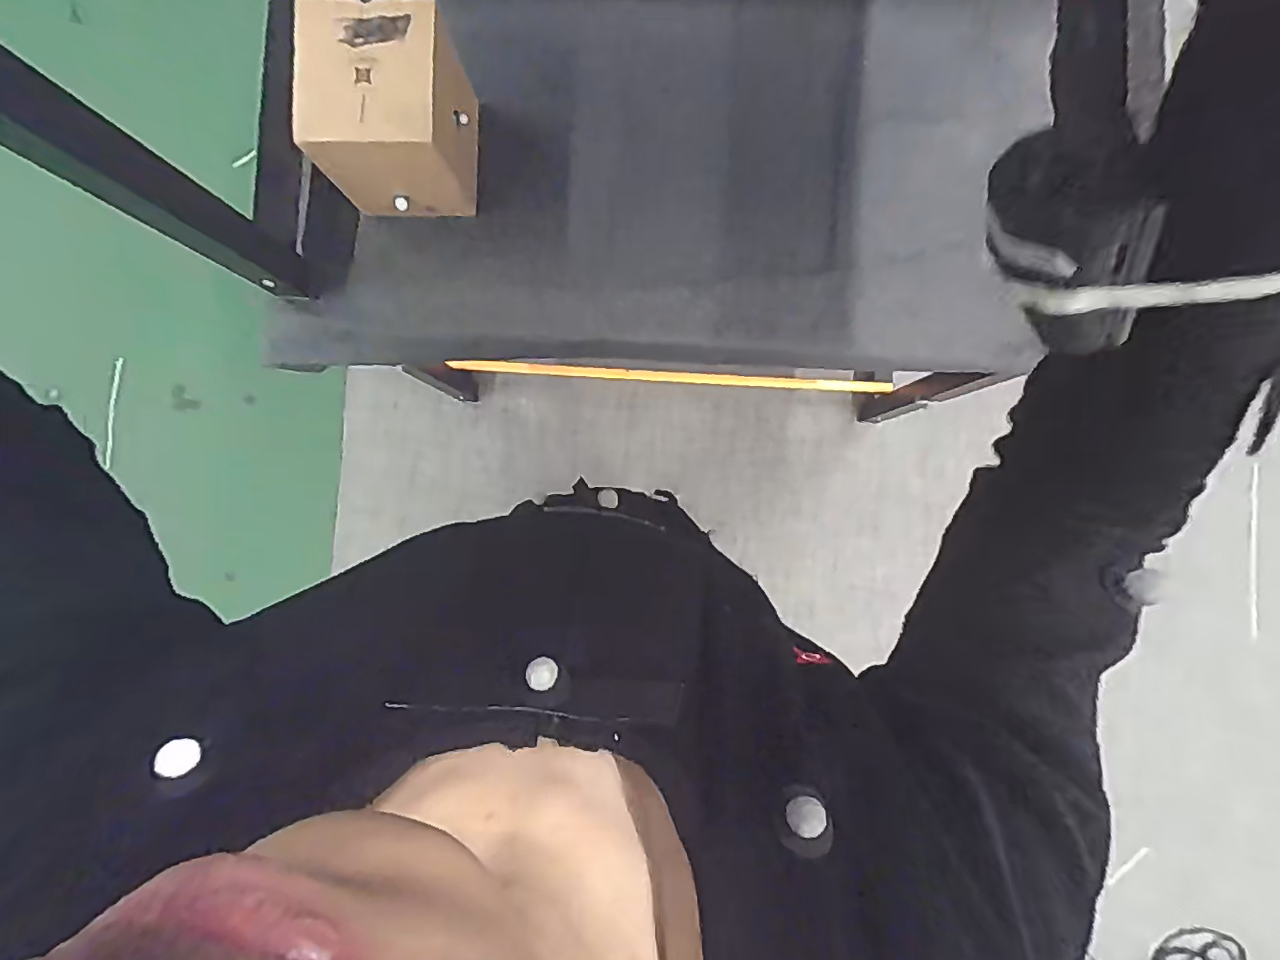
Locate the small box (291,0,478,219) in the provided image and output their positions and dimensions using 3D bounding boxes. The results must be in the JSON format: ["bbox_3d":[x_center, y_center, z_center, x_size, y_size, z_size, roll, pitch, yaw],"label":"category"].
[{"bbox_3d":[-0.319,-0.471,0.707,0.168,0.176,0.179,0,88,1],"label":"small box"}]
